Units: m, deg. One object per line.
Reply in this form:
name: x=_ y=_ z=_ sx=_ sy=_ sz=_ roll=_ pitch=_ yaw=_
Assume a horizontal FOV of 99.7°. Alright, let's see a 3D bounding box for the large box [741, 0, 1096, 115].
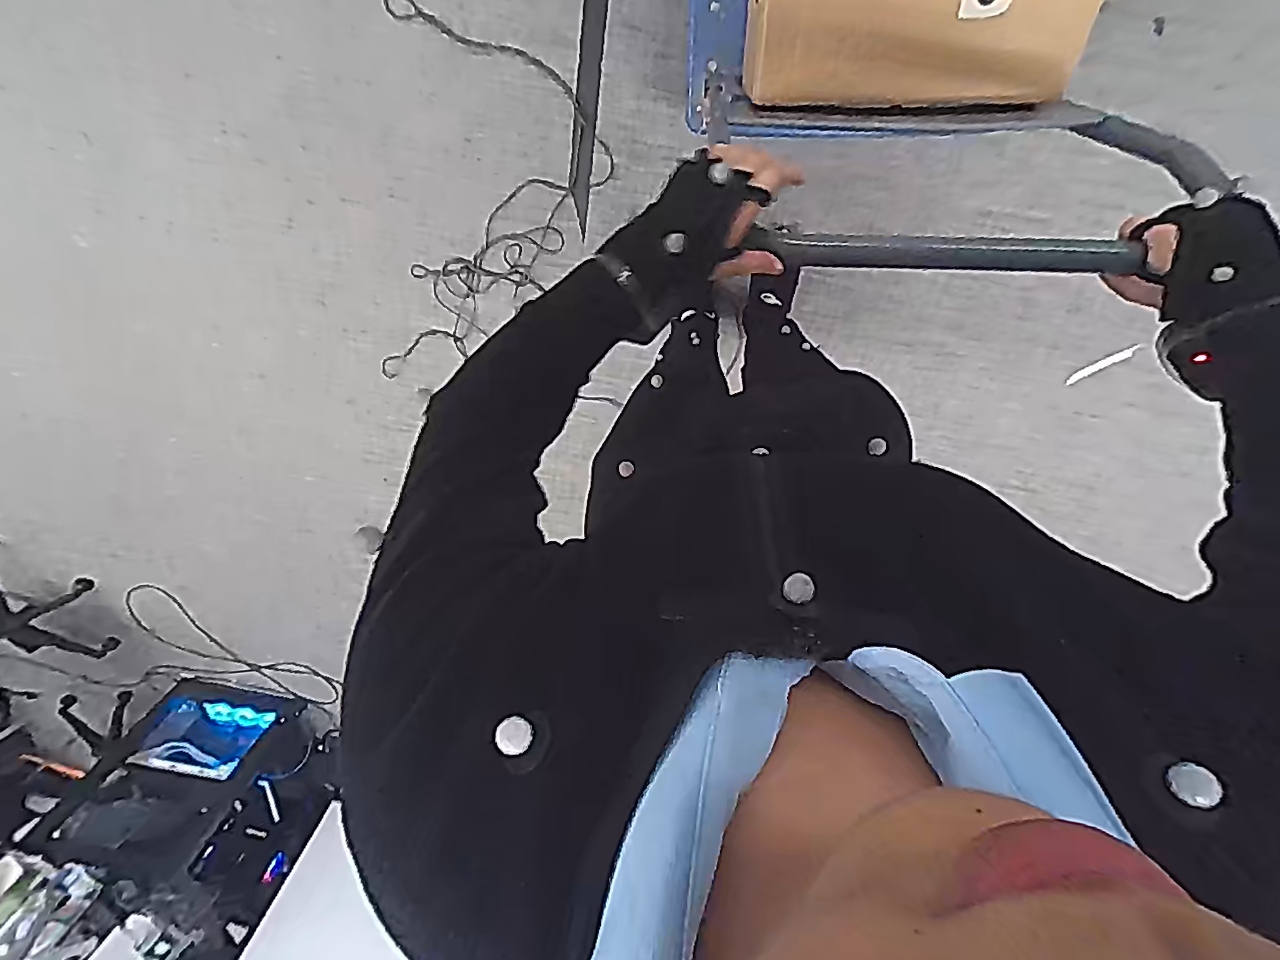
large box: x=0.362 y=-0.713 z=0.754 sx=0.408 sy=0.320 sz=0.320 roll=2 pitch=129 yaw=4
